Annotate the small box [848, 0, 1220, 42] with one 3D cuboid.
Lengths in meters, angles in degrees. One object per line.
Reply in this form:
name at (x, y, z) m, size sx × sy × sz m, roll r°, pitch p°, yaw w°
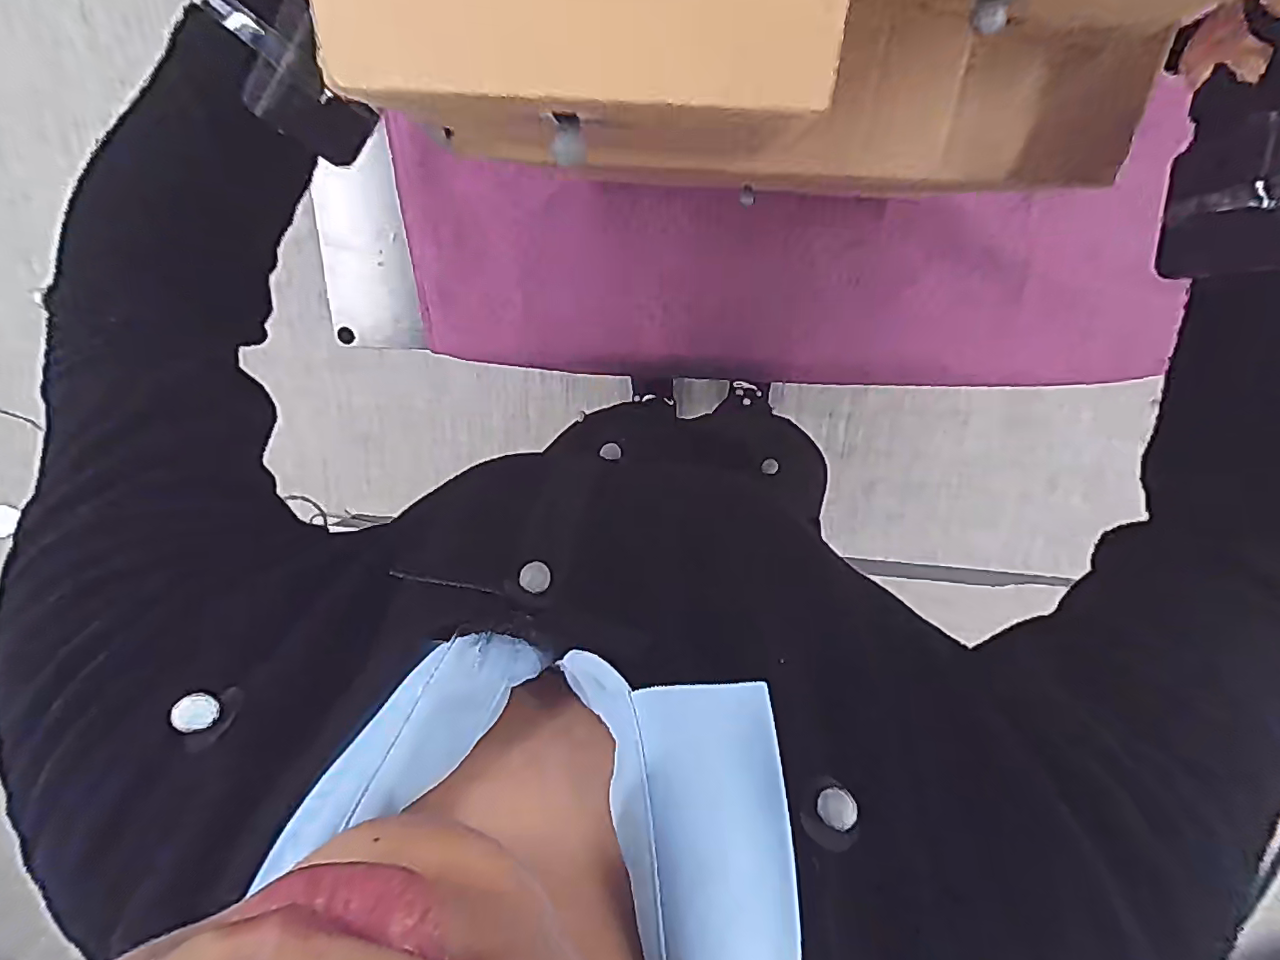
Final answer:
small box at (0.175, -0.279, 0.169) m, size 0.168 × 0.176 × 0.179 m, roll 11°, pitch 117°, yaw 2°
